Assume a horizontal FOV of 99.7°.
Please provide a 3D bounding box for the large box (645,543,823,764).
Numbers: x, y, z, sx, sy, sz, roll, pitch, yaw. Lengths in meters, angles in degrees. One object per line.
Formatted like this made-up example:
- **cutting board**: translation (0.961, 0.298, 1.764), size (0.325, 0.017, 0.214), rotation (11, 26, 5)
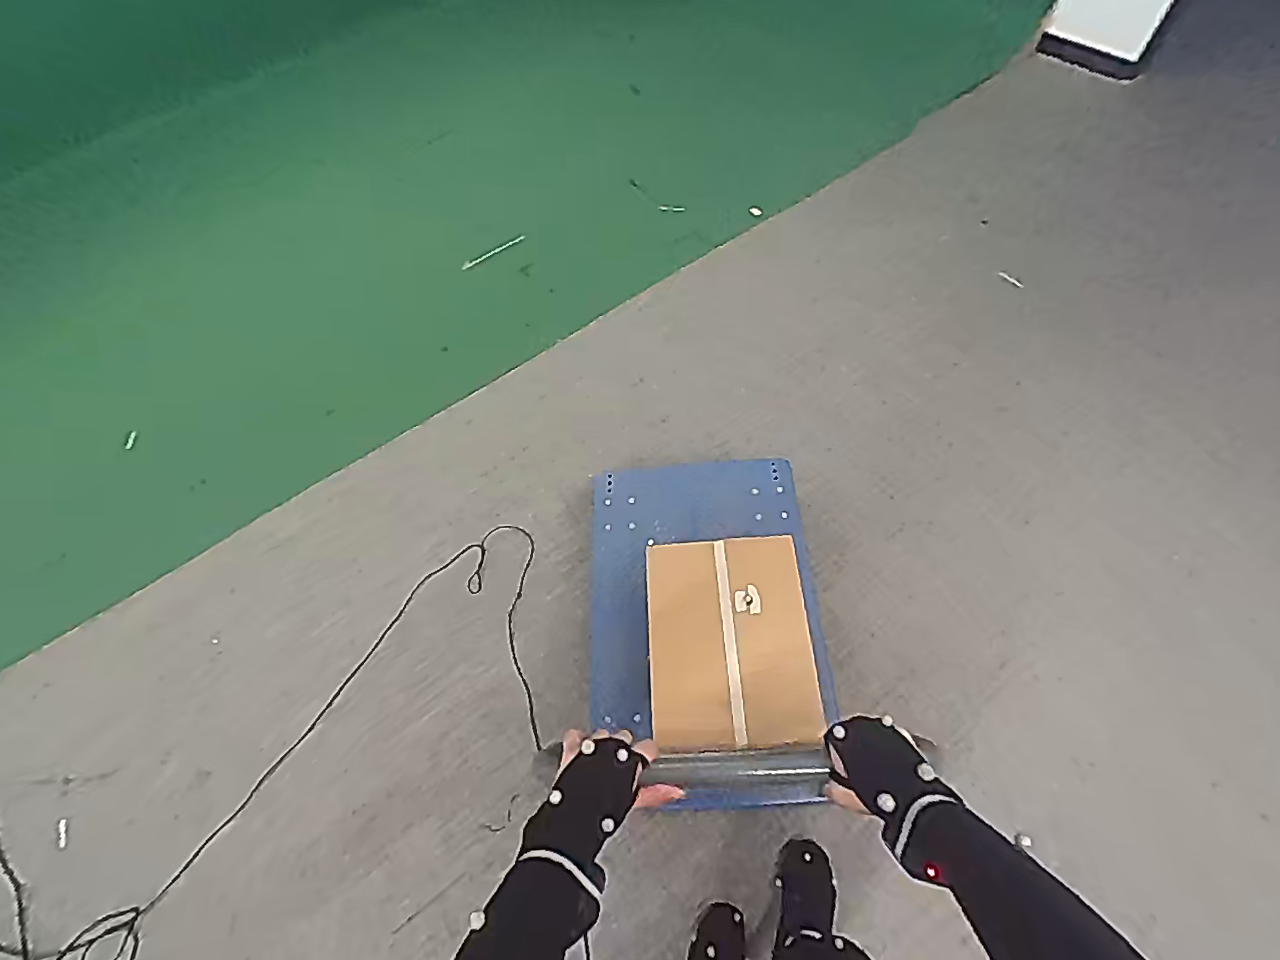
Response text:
- **large box**: translation (0.188, 0.395, 1.203), size (0.320, 0.320, 0.408), rotation (-4, 59, 4)
